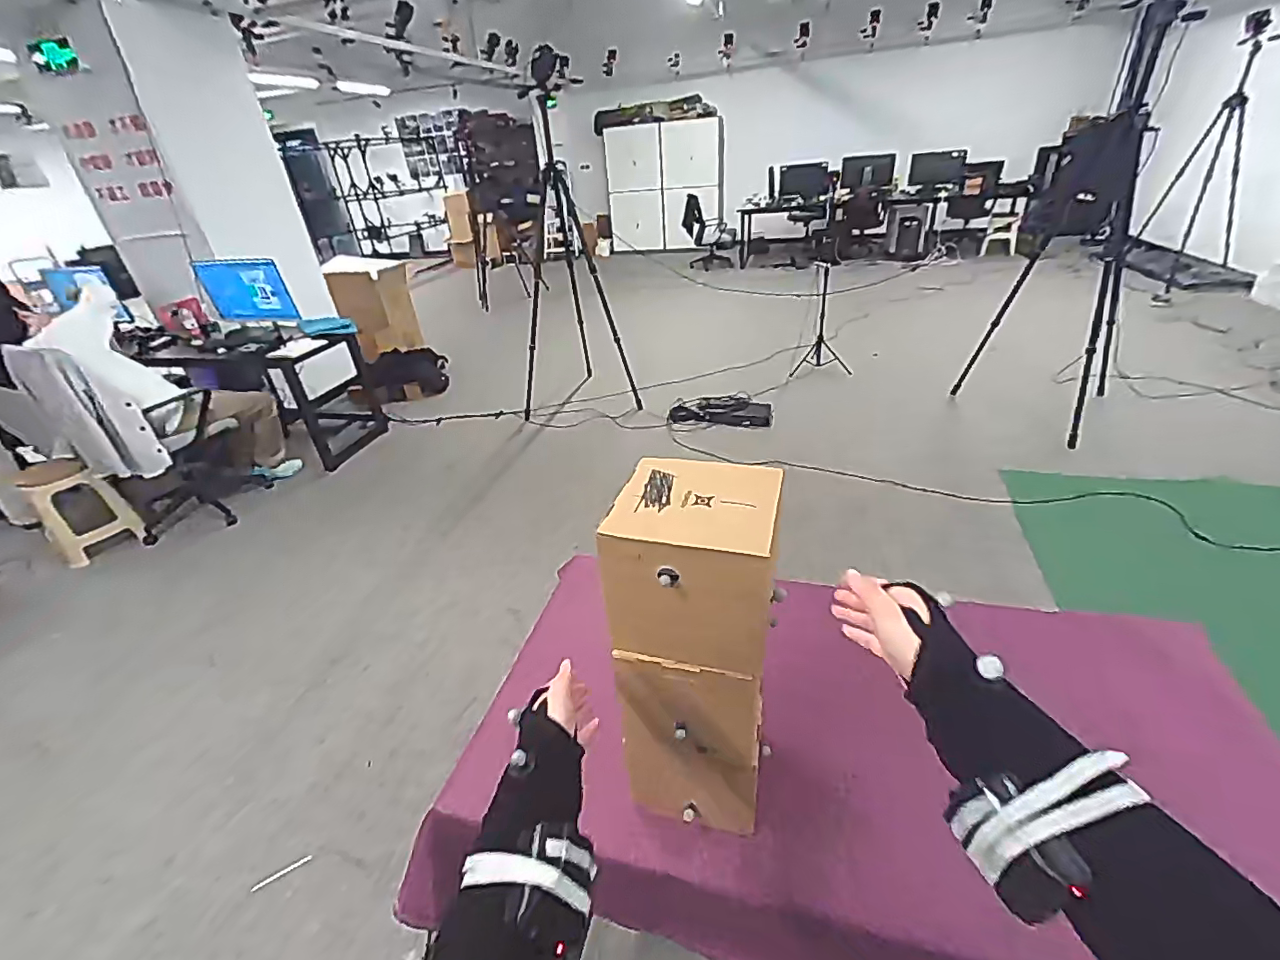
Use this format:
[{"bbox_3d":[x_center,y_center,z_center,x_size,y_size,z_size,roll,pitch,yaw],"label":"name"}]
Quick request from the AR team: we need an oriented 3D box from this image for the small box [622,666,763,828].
[{"bbox_3d":[0.084,0.377,0.797,0.179,0.176,0.168,4,32,14],"label":"small box"}]

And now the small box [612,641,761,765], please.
[{"bbox_3d":[0.073,0.234,0.715,0.168,0.176,0.179,4,33,16],"label":"small box"}]

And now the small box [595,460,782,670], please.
[{"bbox_3d":[0.064,0.094,0.628,0.179,0.176,0.168,6,33,16],"label":"small box"}]
